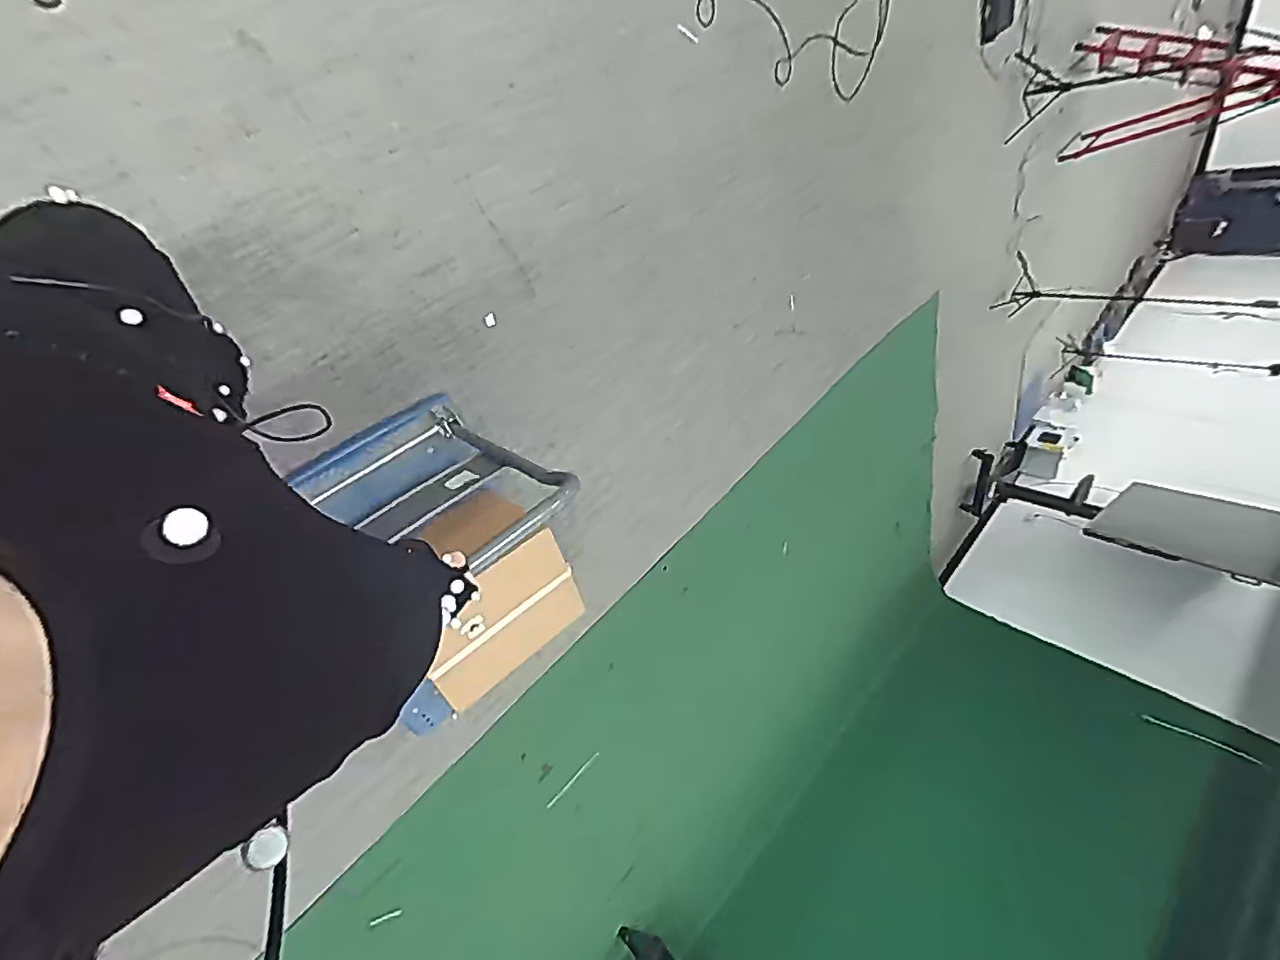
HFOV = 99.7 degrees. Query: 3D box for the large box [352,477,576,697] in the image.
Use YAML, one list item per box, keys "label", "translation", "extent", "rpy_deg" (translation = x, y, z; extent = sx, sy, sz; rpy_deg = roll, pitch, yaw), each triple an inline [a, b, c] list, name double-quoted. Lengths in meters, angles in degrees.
- label: "large box"
  translation: [-0.446, 0.255, 1.406]
  extent: [0.408, 0.320, 0.320]
  rpy_deg: [-36, 128, -26]
